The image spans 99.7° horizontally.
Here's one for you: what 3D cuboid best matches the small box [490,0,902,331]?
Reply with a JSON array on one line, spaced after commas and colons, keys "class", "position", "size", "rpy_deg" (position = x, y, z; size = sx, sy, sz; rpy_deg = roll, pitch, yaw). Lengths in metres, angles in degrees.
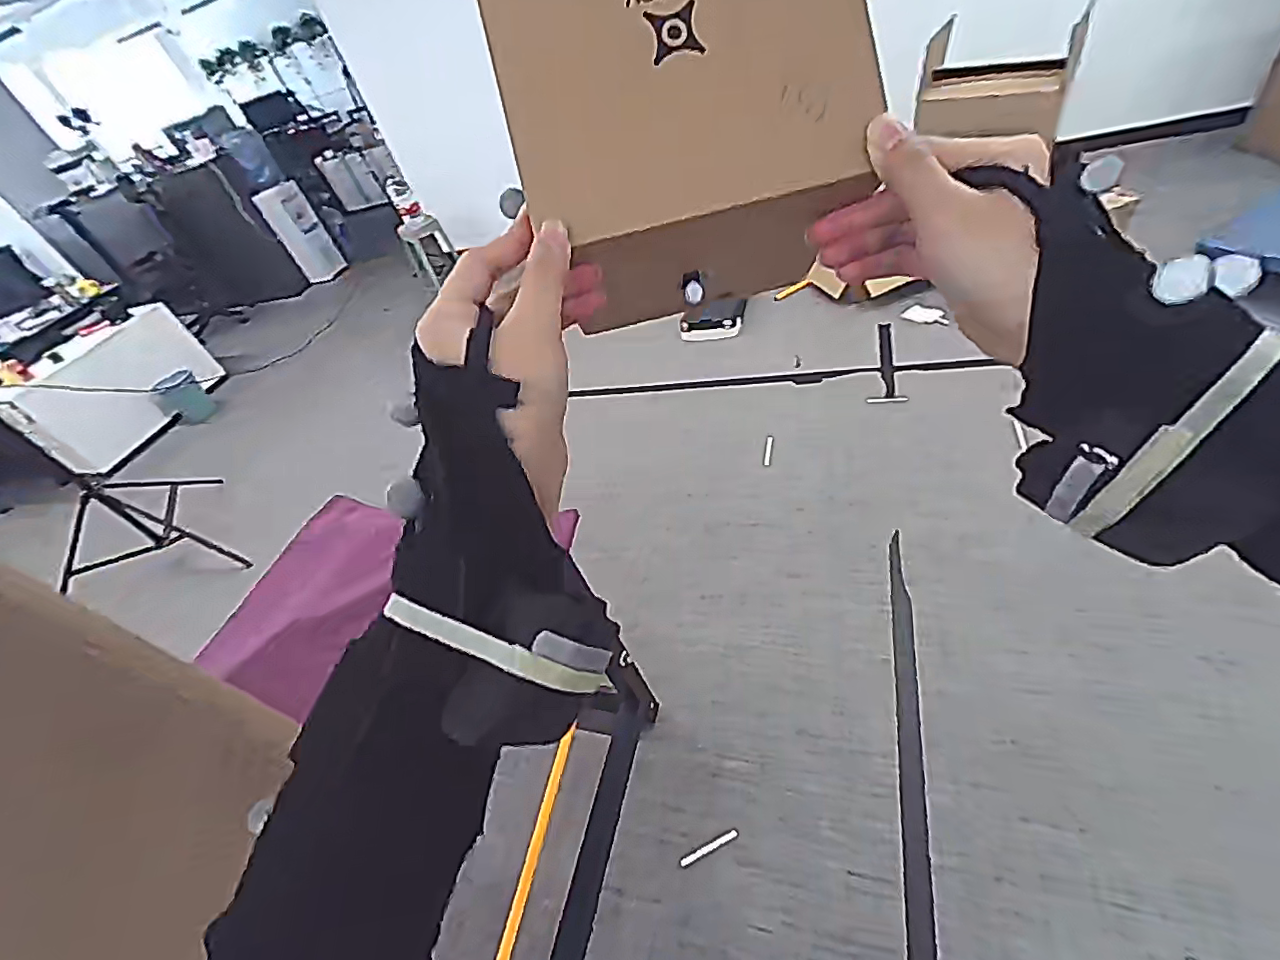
[{"class": "small box", "position": [0.023, -0.198, 0.320], "size": [0.168, 0.179, 0.176], "rpy_deg": [-13, 2, 2]}]
